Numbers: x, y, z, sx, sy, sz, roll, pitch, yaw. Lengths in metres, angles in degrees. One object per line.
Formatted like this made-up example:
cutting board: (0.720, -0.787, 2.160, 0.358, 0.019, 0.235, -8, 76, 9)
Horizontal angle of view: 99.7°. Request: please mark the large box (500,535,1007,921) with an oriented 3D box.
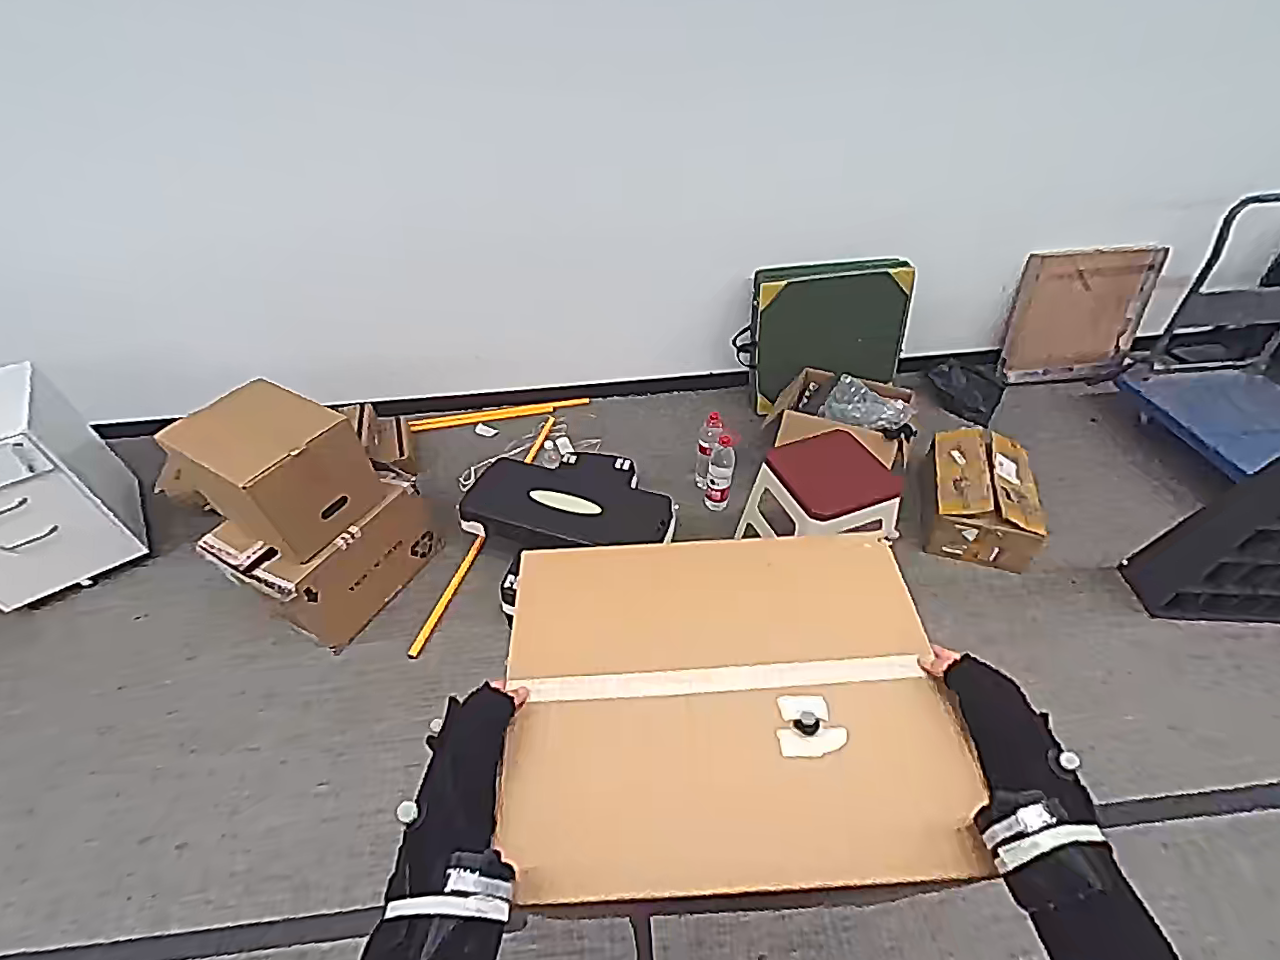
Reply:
large box: (0.083, 0.287, 0.622, 0.408, 0.320, 0.320, -3, 49, -1)
